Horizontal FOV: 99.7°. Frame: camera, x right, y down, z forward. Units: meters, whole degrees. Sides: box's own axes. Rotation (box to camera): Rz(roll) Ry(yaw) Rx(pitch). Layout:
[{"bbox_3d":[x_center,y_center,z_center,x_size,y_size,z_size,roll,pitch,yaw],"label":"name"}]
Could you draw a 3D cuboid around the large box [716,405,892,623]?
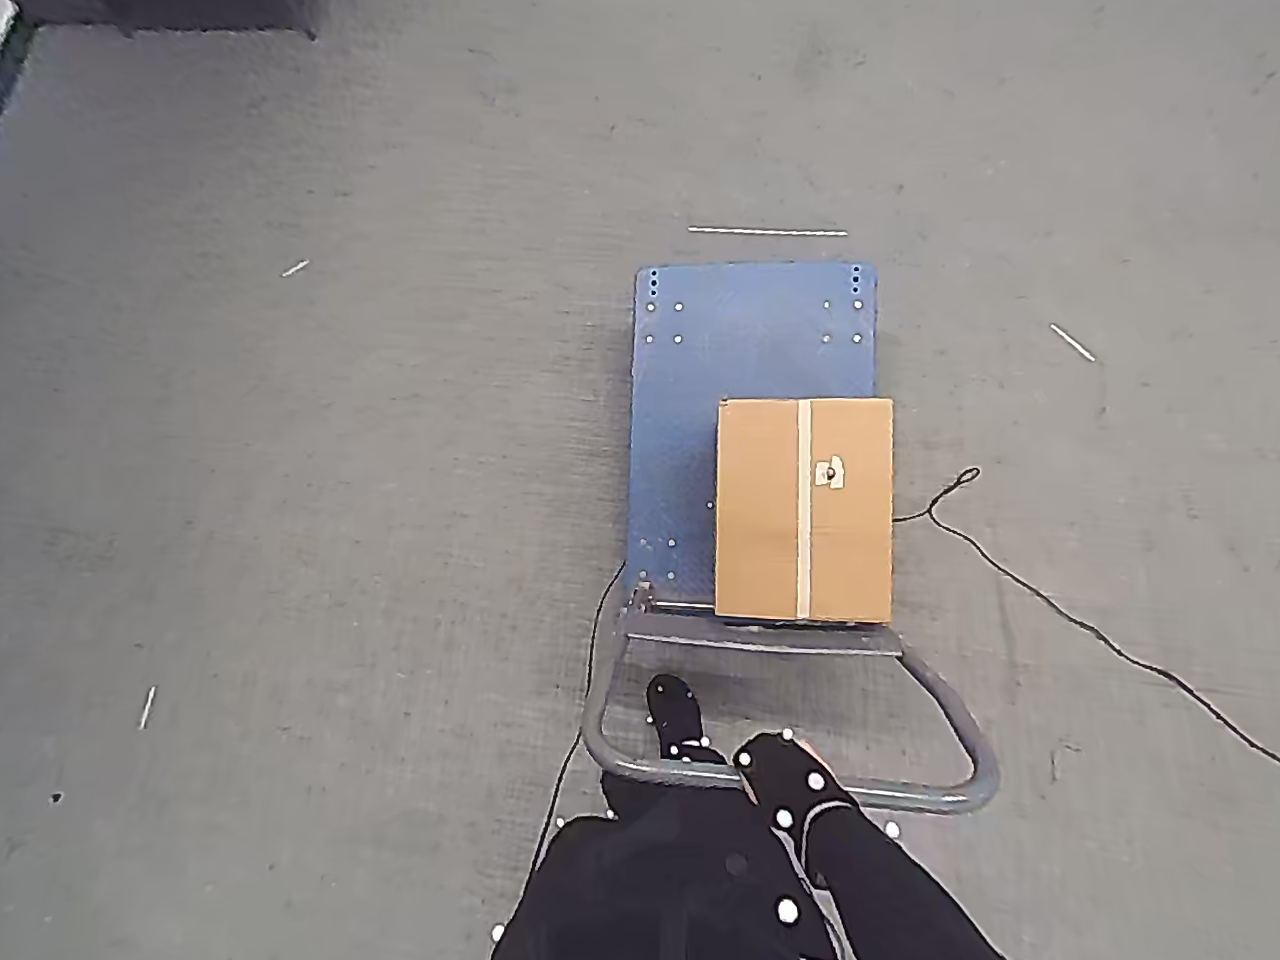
[{"bbox_3d":[0.321,0.068,1.145,0.320,0.320,0.408,1,87,7],"label":"large box"}]
